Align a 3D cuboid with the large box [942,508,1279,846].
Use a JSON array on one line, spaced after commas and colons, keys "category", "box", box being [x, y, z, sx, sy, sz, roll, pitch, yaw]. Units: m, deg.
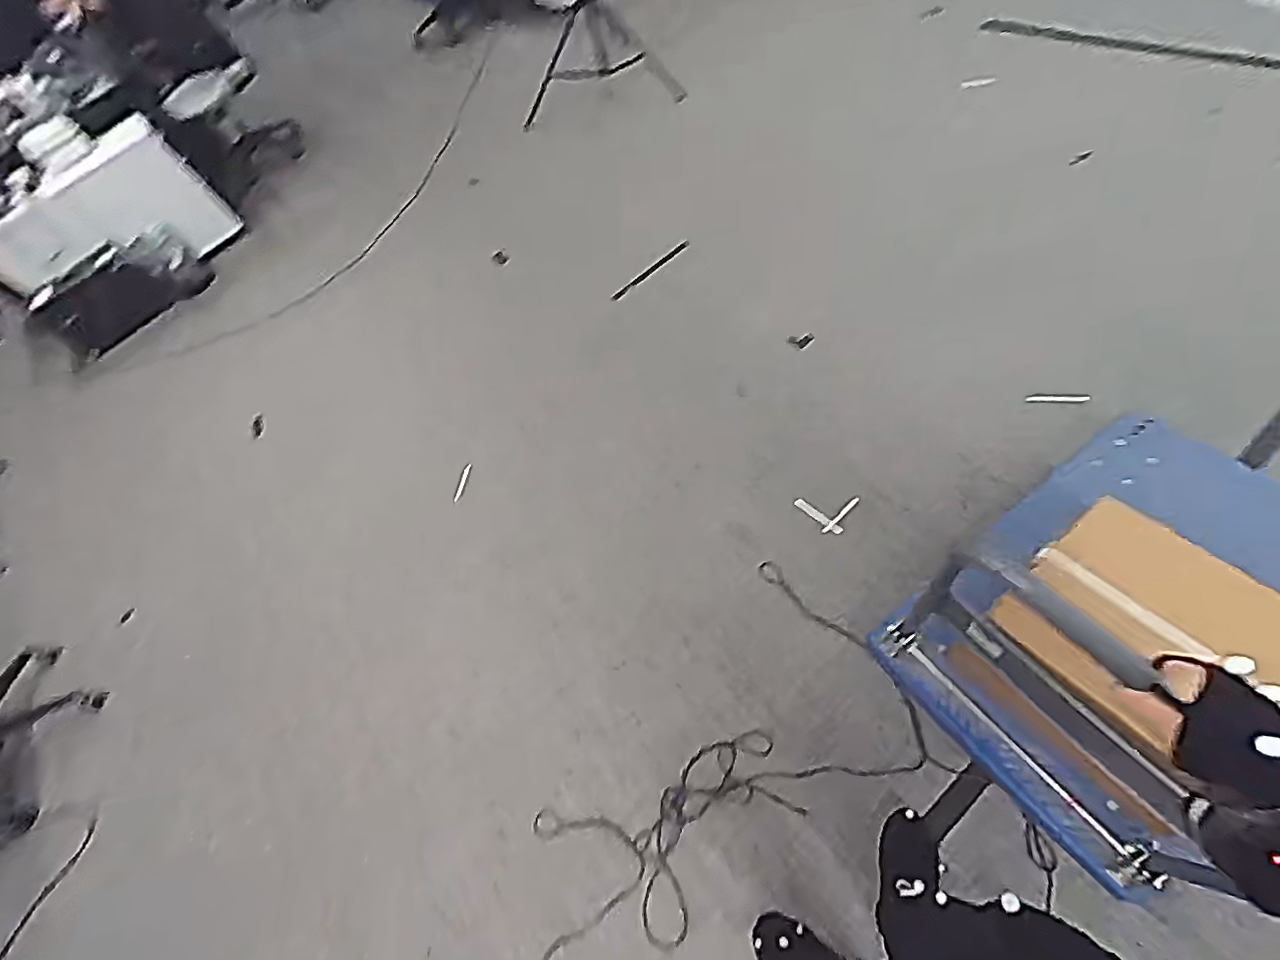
[{"category": "large box", "box": [0.833, 0.329, 0.941, 0.320, 0.320, 0.408, -41, 59, -9]}]
